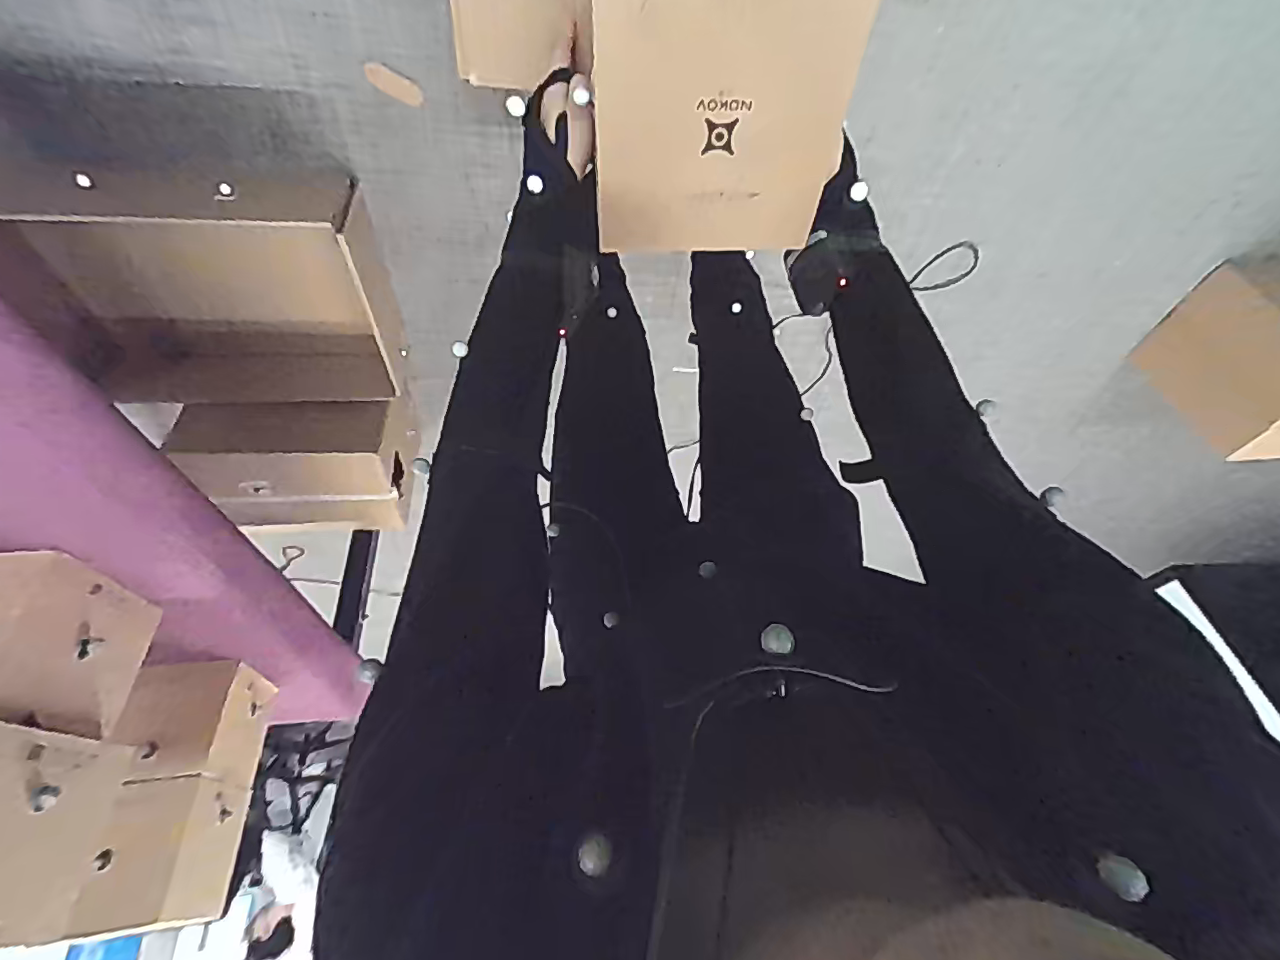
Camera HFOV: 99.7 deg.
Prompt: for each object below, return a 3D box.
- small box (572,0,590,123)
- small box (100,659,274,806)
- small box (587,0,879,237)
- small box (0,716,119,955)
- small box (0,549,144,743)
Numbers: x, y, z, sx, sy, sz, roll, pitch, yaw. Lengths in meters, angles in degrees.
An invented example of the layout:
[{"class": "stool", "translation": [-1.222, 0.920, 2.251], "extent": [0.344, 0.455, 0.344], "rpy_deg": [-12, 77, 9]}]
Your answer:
[{"class": "small box", "translation": [0.024, -0.444, 0.480], "extent": [0.168, 0.176, 0.179], "rpy_deg": [-1, 146, -7]}, {"class": "small box", "translation": [-0.715, 0.390, 0.842], "extent": [0.179, 0.176, 0.168], "rpy_deg": [-1, 143, -11]}, {"class": "small box", "translation": [0.047, -0.305, 0.396], "extent": [0.168, 0.176, 0.179], "rpy_deg": [-2, 145, -5]}, {"class": "small box", "translation": [-0.632, 0.317, 0.471], "extent": [0.179, 0.176, 0.168], "rpy_deg": [-7, 145, -1]}, {"class": "small box", "translation": [-0.672, 0.181, 0.558], "extent": [0.179, 0.176, 0.168], "rpy_deg": [-3, 144, -6]}]
